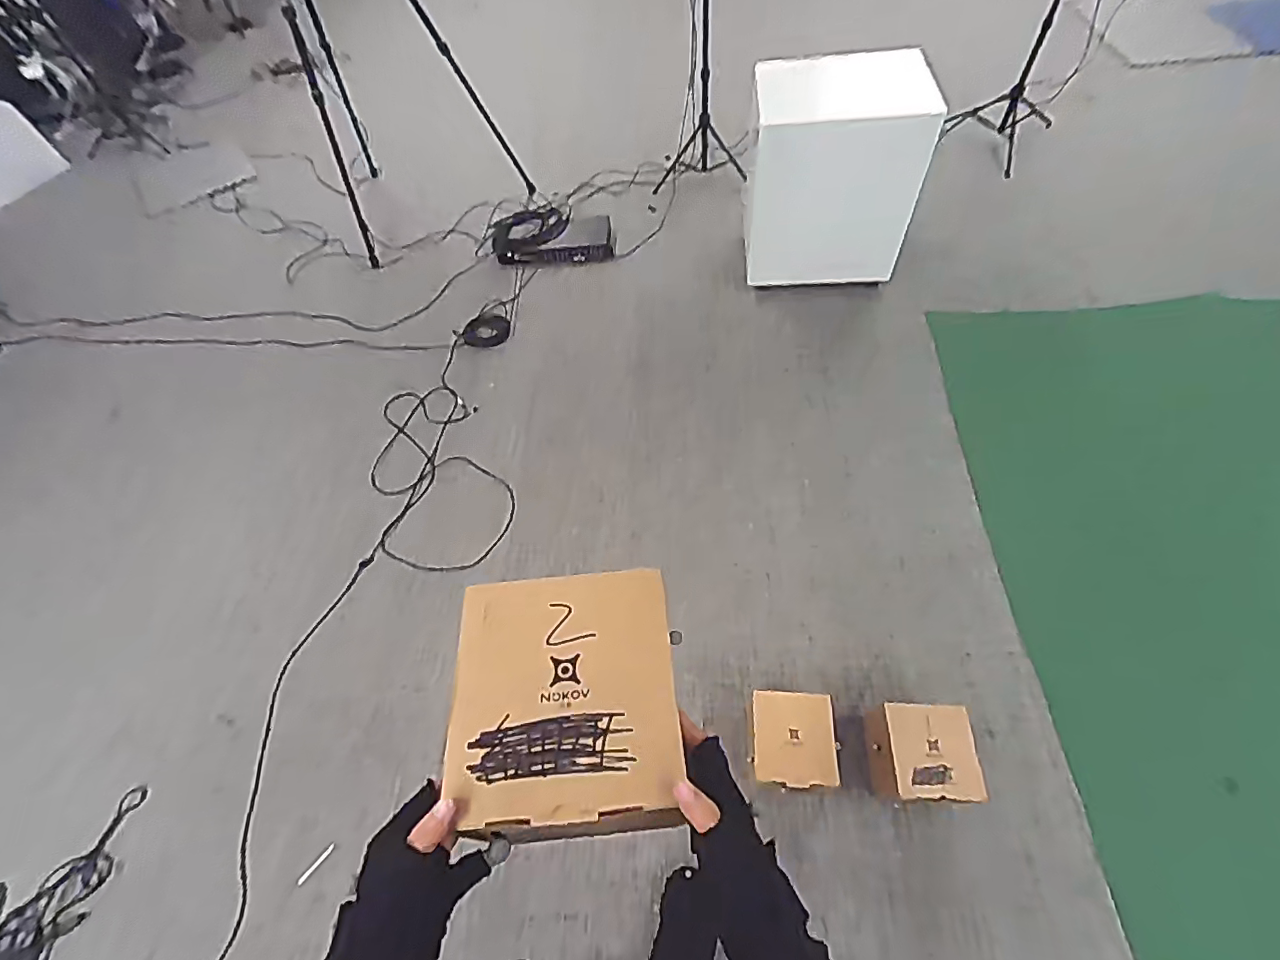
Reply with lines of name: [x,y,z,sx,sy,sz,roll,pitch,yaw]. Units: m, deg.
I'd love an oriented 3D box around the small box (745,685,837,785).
small box: [0.321,0.561,1.185,0.168,0.176,0.179,1,59,6]

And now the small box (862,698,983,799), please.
small box: [0.588,0.573,1.150,0.168,0.176,0.179,0,58,6]
